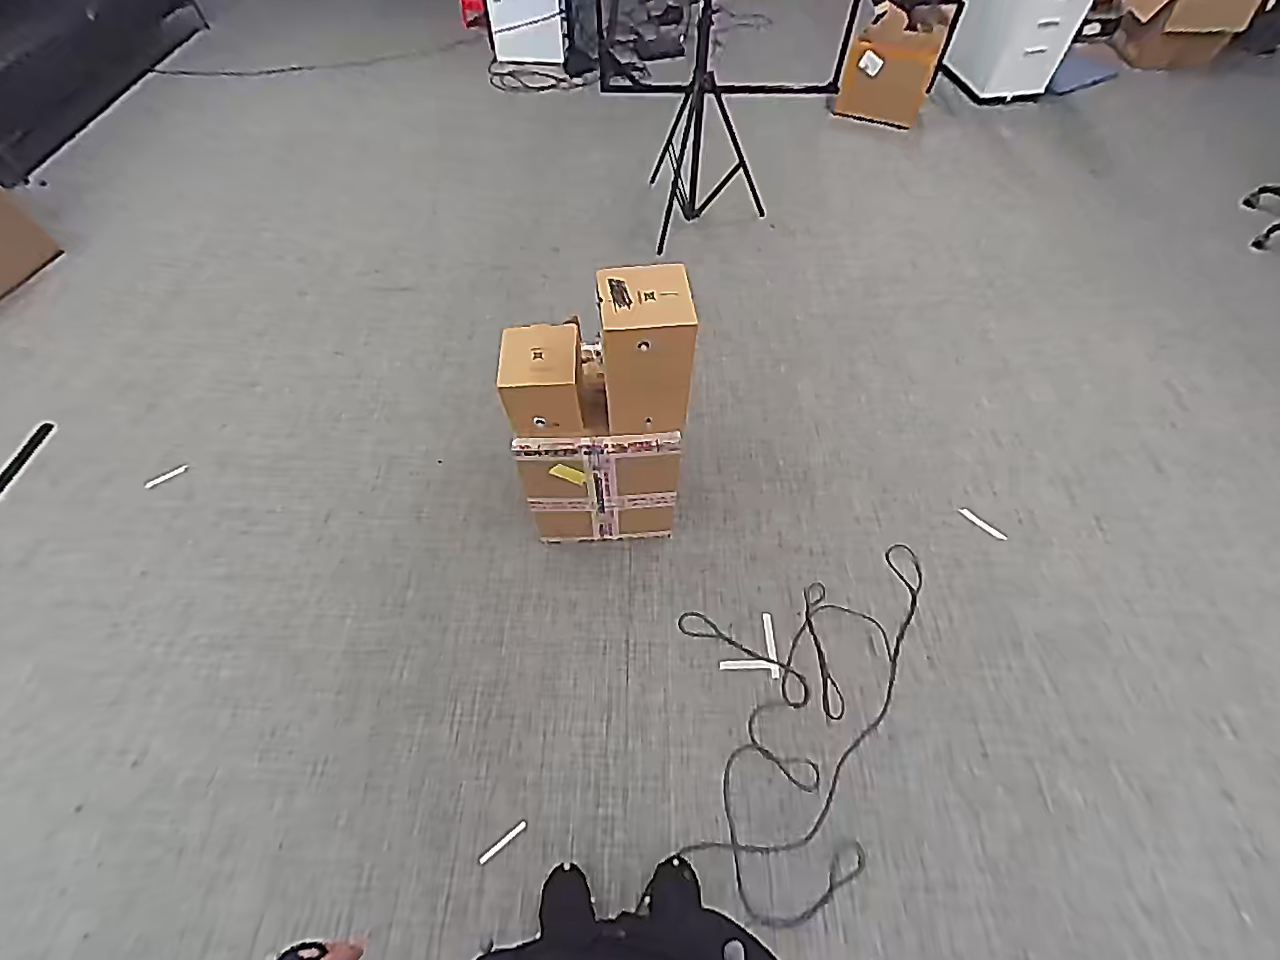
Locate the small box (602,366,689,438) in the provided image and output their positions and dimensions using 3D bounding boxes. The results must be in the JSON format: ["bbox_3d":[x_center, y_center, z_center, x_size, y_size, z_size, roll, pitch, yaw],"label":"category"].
[{"bbox_3d":[0.006,-0.212,1.233,0.179,0.176,0.168,-6,60,-4],"label":"small box"}]

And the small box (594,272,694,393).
[{"bbox_3d":[0.006,-0.290,1.087,0.179,0.176,0.168,-6,61,-4],"label":"small box"}]

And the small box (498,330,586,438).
[{"bbox_3d":[-0.217,-0.217,1.235,0.168,0.176,0.179,-4,61,0],"label":"small box"}]
